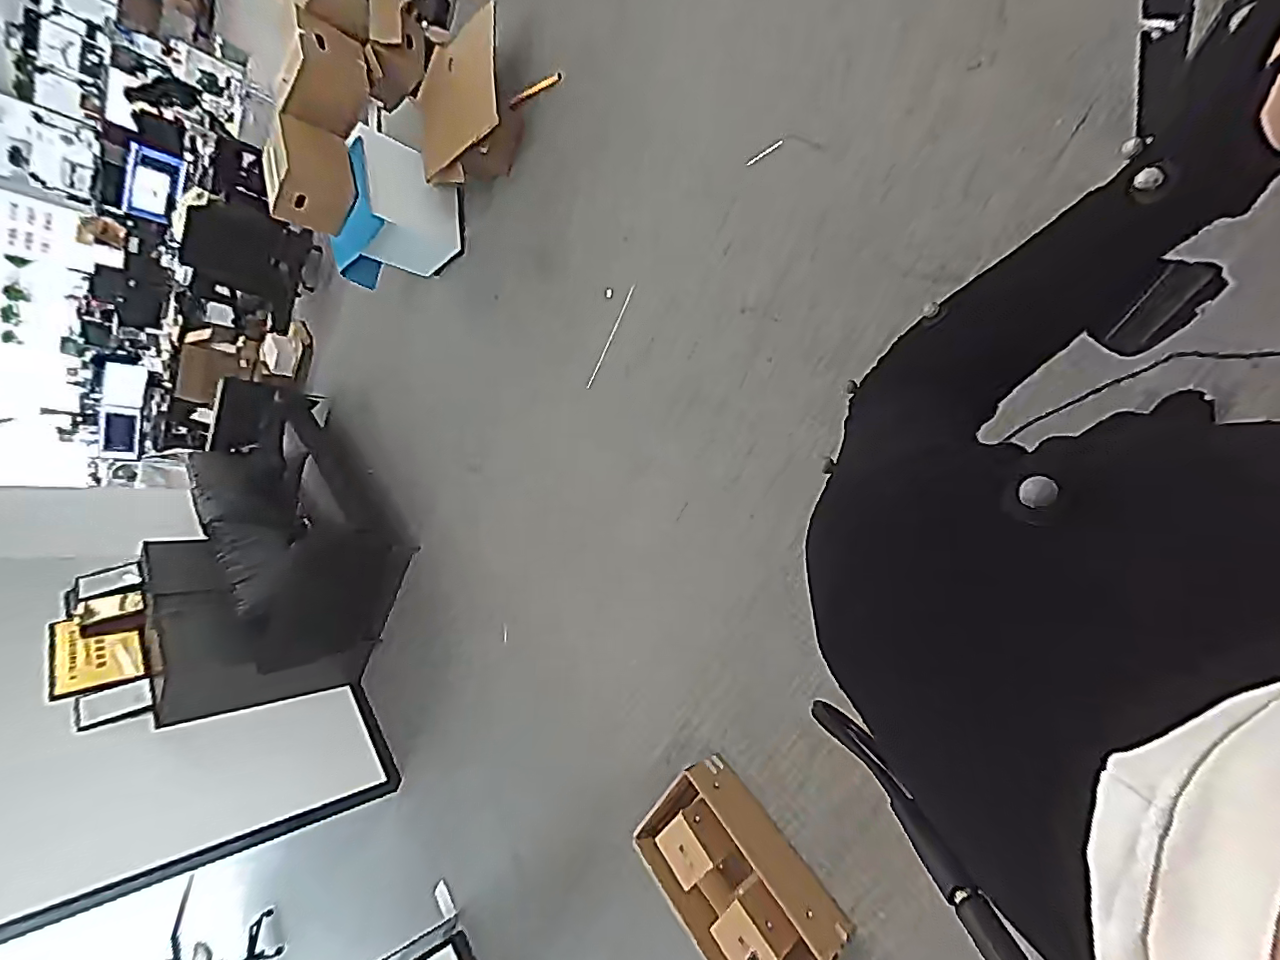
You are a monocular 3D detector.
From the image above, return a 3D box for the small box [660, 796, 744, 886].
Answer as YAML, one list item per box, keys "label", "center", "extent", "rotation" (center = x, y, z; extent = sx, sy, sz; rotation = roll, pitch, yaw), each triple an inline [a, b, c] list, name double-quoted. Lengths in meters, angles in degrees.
- label: "small box"
  center: [0.207, 1.187, 1.798]
  extent: [0.179, 0.176, 0.168]
  rotation: [48, 117, 33]
